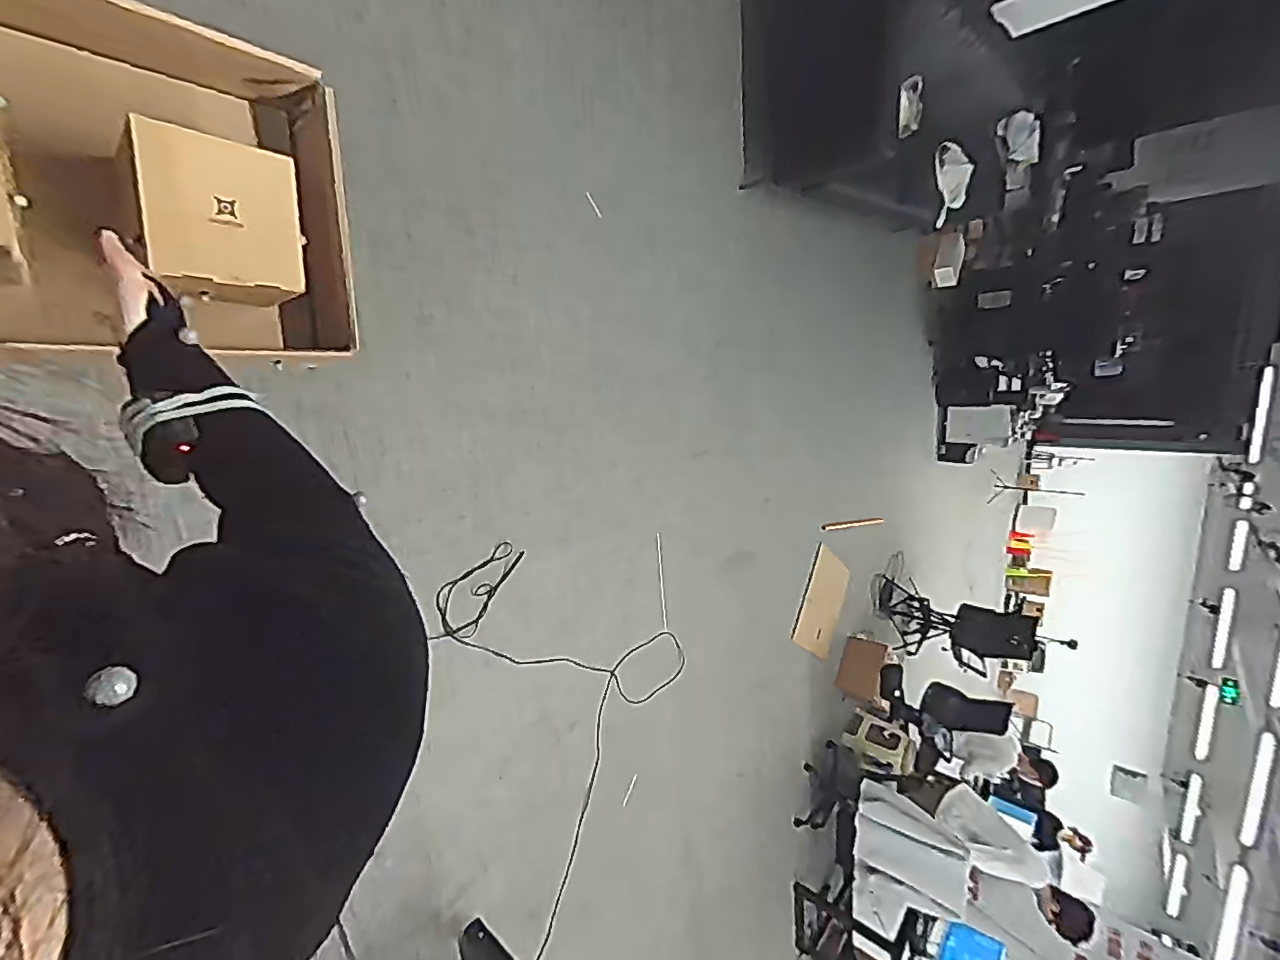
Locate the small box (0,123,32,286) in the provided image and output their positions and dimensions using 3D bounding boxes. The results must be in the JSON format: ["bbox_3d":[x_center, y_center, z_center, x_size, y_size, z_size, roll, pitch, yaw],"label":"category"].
[{"bbox_3d":[-0.755,-0.305,0.545,0.168,0.176,0.179,-13,106,-46],"label":"small box"}]
